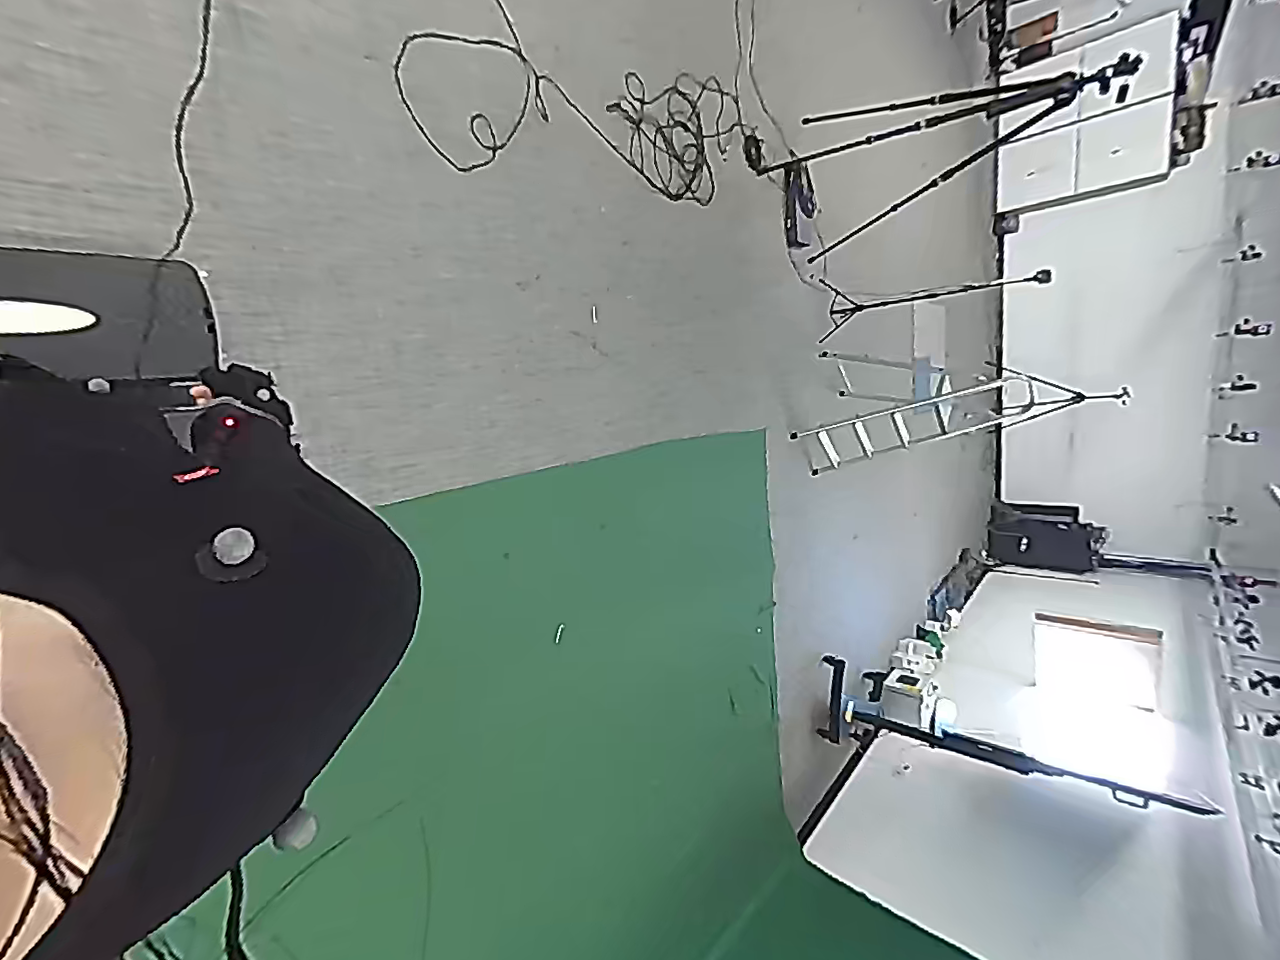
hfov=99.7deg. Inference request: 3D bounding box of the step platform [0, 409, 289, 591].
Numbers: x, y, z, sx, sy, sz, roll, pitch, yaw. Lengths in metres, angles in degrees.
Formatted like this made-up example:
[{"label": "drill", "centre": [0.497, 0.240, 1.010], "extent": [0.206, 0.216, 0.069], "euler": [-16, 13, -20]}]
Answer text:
[{"label": "step platform", "centre": [-1.056, 0.044, 0.972], "extent": [0.684, 0.204, 0.286], "euler": [-16, 103, -47]}]
